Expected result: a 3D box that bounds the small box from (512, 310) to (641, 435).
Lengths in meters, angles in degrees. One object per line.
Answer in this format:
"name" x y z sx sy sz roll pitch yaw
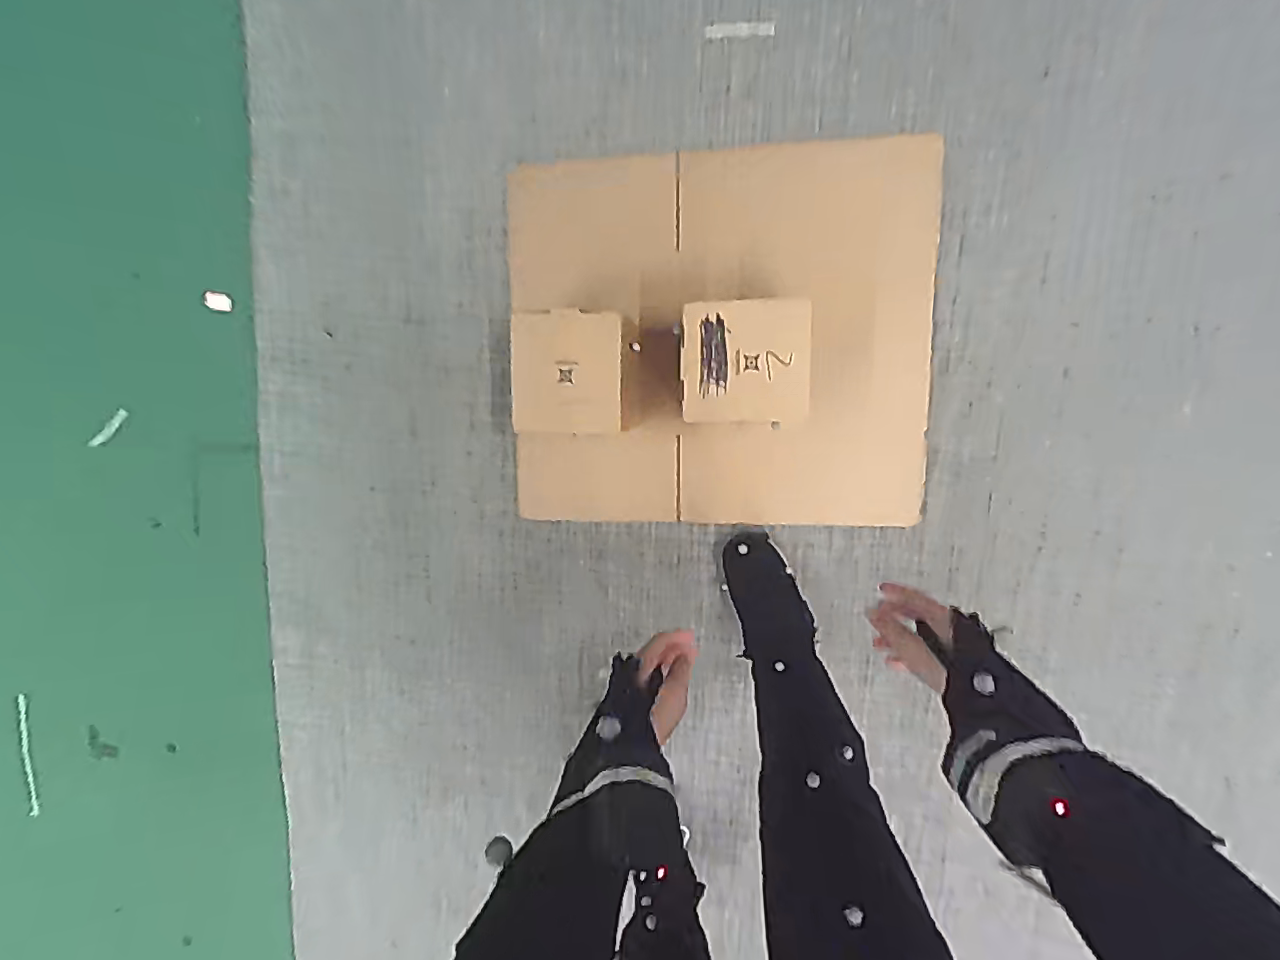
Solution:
"small box" -0.093 -0.164 0.853 0.168 0.176 0.179 1 99 9
